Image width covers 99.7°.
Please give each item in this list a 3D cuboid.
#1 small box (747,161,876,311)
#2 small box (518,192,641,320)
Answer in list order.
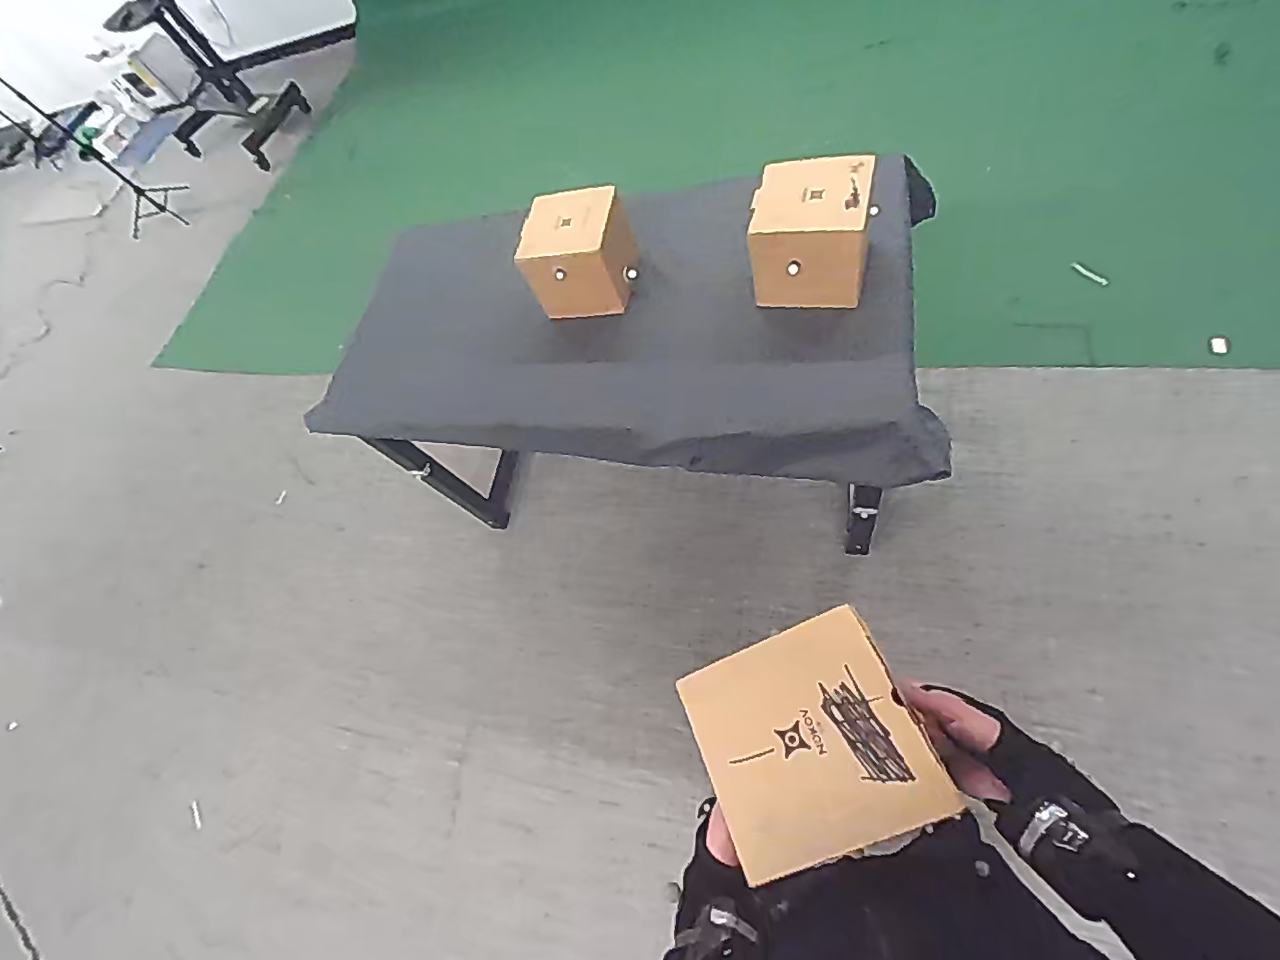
[{"bbox_3d":[0.296,-0.409,0.927,0.179,0.176,0.168,8,68,22],"label":"small box"},{"bbox_3d":[-0.112,-0.437,1.078,0.179,0.176,0.168,3,67,18],"label":"small box"}]
